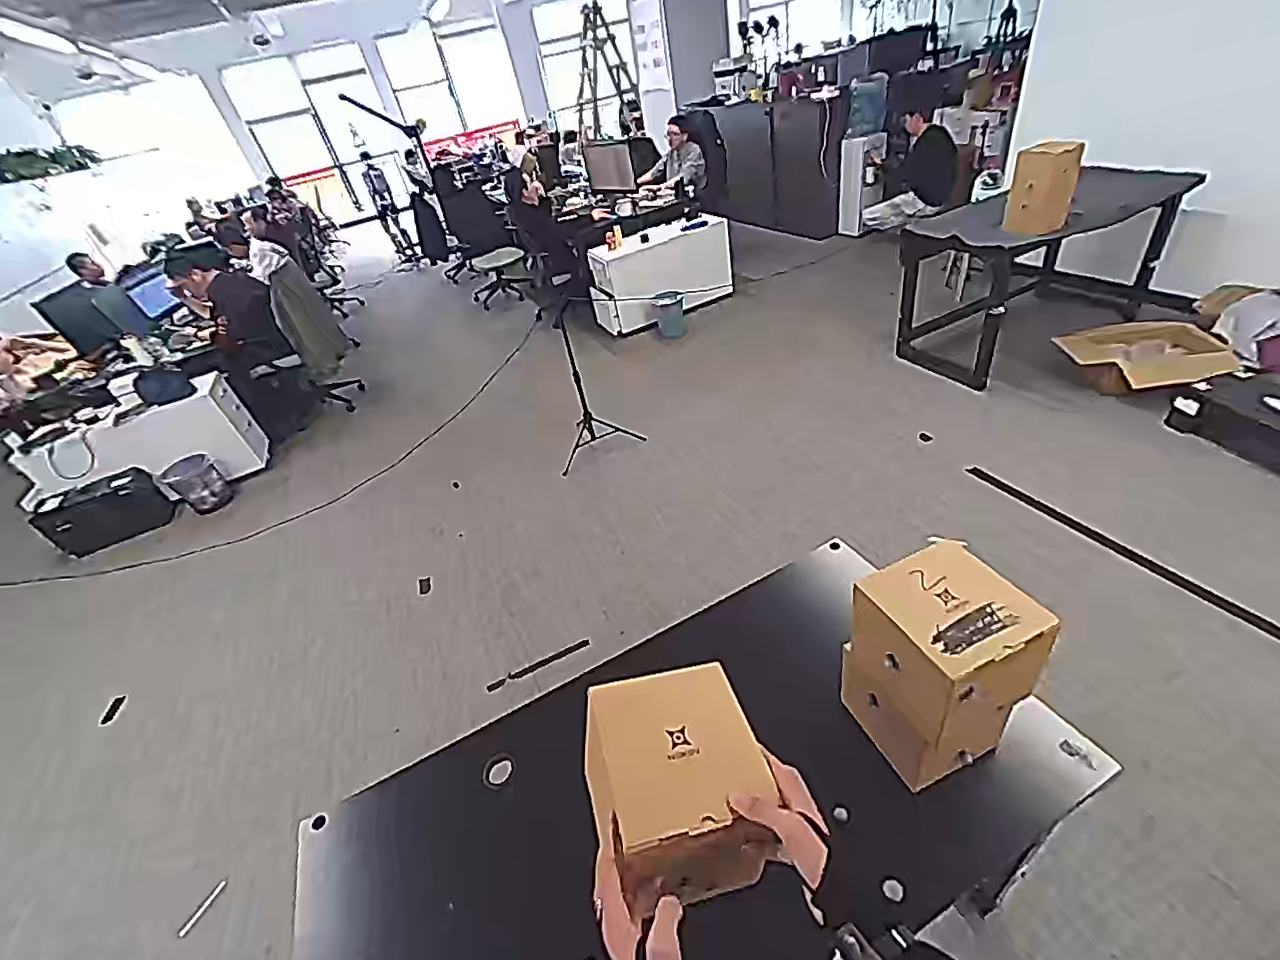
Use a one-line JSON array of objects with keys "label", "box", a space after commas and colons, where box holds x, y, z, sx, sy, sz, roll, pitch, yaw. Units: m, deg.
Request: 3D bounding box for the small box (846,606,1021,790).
[{"label": "small box", "box": [0.442, 0.340, 0.850, 0.168, 0.176, 0.179, -22, 38, -9]}]

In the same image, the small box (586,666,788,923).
[{"label": "small box", "box": [0.036, 0.344, 0.607, 0.168, 0.176, 0.179, -5, 34, -16]}]
